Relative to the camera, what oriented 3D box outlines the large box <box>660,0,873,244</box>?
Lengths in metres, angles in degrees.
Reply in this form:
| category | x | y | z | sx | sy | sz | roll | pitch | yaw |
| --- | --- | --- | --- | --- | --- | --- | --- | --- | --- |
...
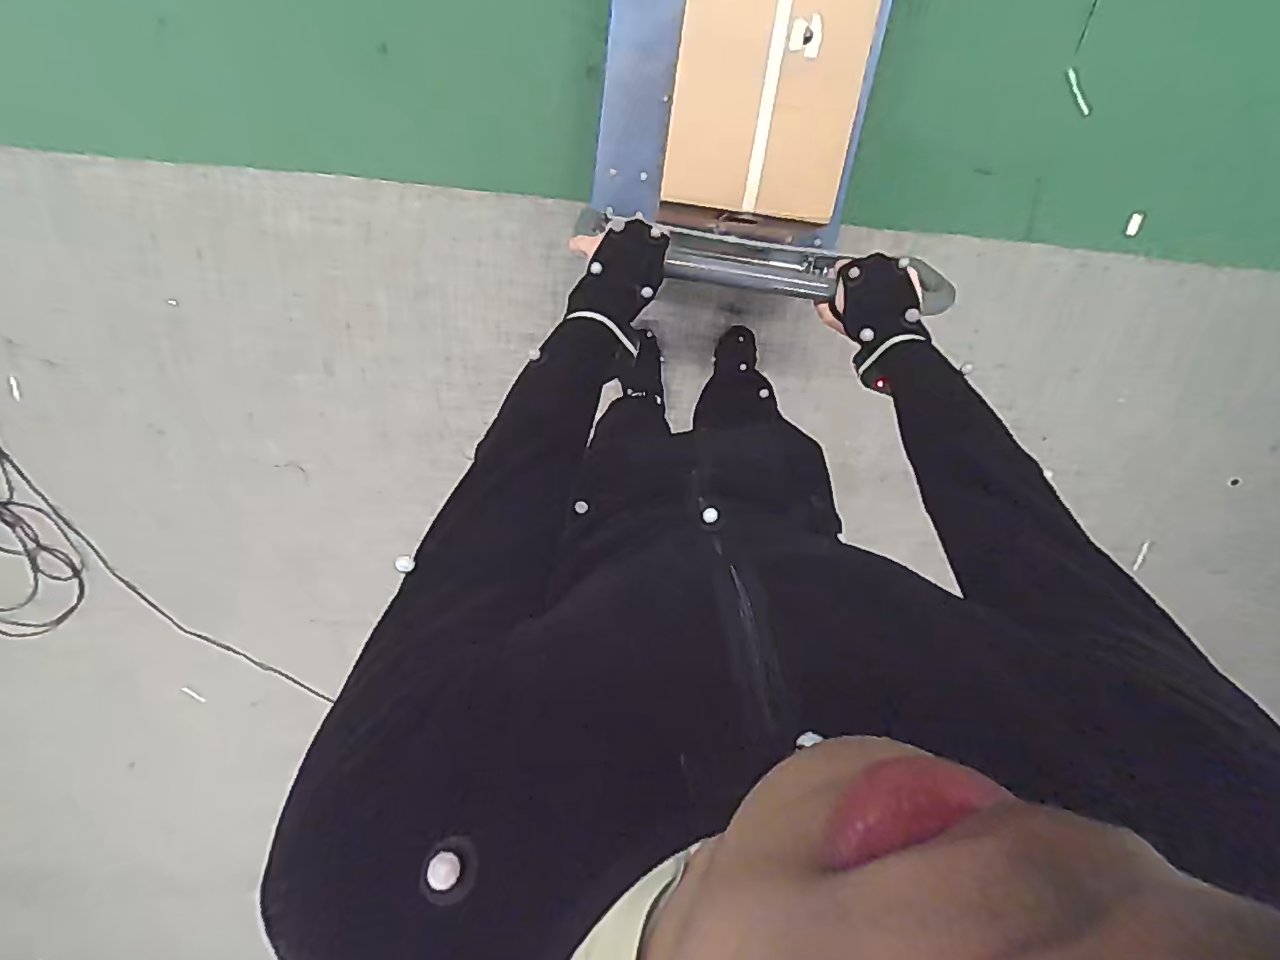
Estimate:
| category | x | y | z | sx | sy | sz | roll | pitch | yaw |
| --- | --- | --- | --- | --- | --- | --- | --- | --- | --- |
| large box | 0.214 | -0.709 | 1.063 | 0.320 | 0.320 | 0.408 | 7 | 108 | -3 |
